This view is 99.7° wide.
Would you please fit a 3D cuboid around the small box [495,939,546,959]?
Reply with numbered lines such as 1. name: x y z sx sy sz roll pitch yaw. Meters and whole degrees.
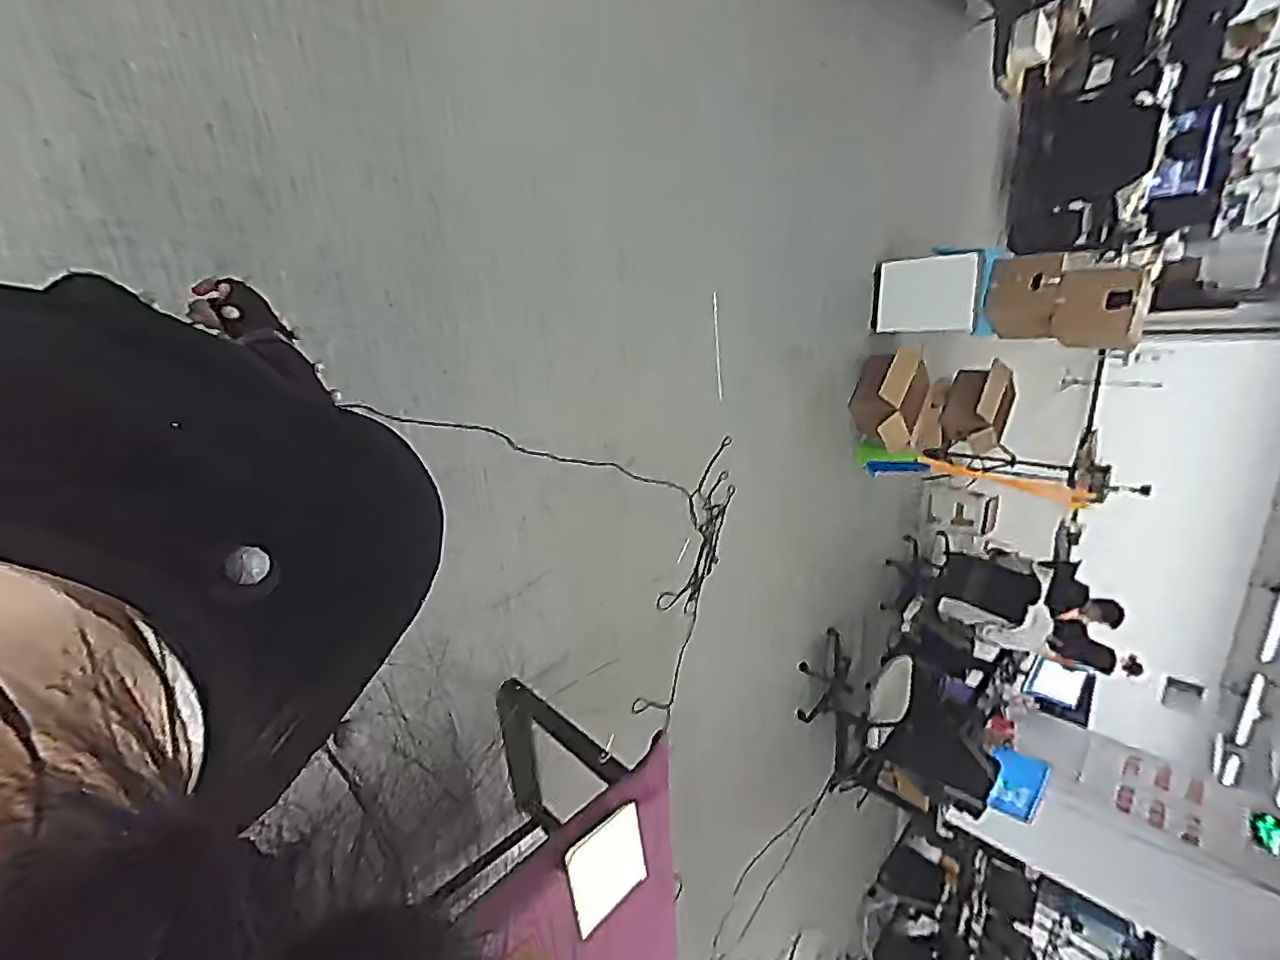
1. small box: -0.245 1.076 1.074 0.168 0.176 0.179 -18 112 -40
